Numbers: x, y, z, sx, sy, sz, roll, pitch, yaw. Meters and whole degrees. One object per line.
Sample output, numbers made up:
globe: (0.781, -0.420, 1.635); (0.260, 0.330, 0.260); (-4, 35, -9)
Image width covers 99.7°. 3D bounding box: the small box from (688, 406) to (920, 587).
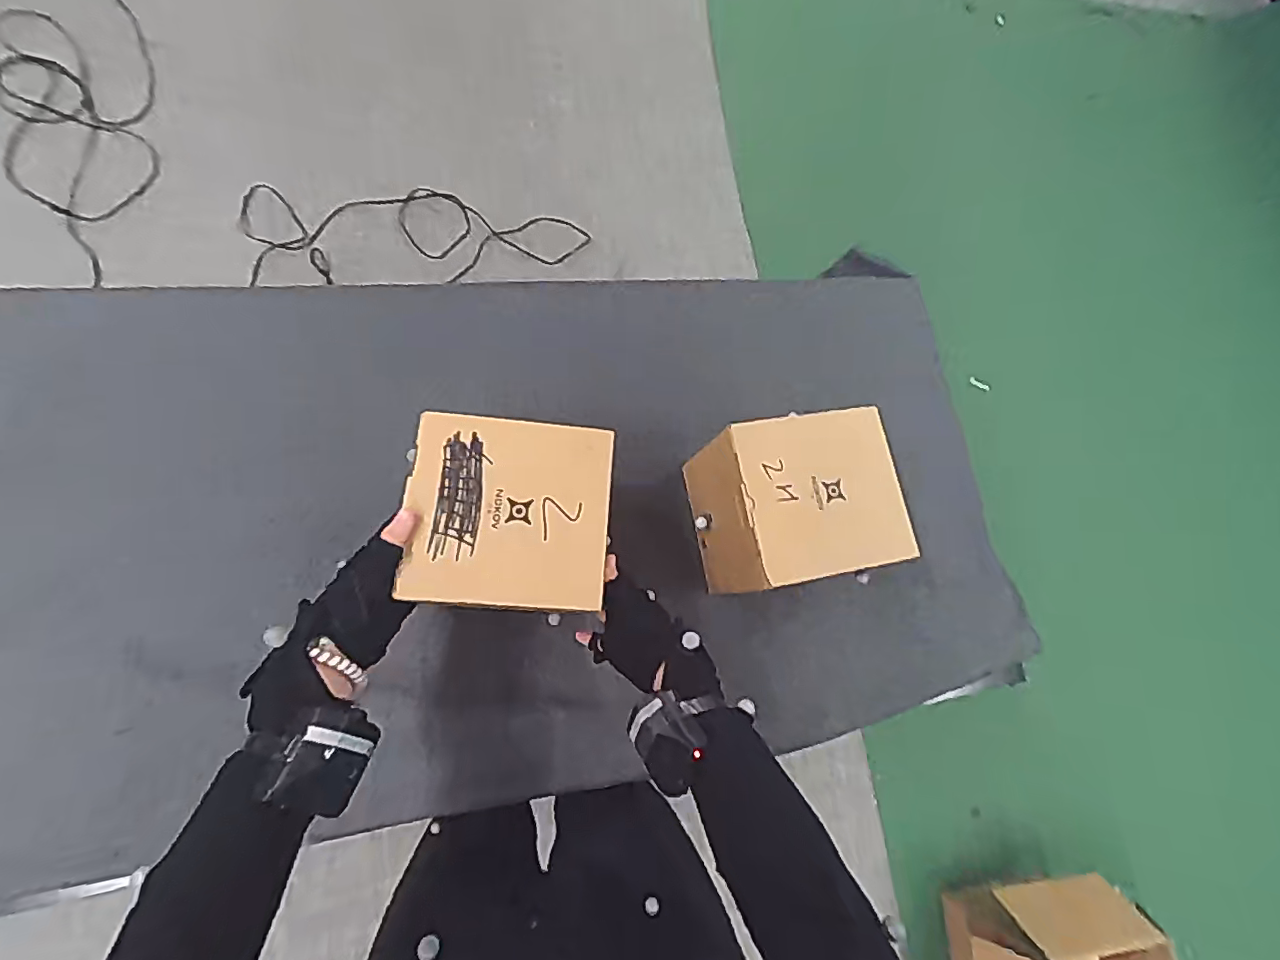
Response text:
small box: (0.172, 0.026, 0.620); (0.179, 0.176, 0.168); (-8, 78, -14)
